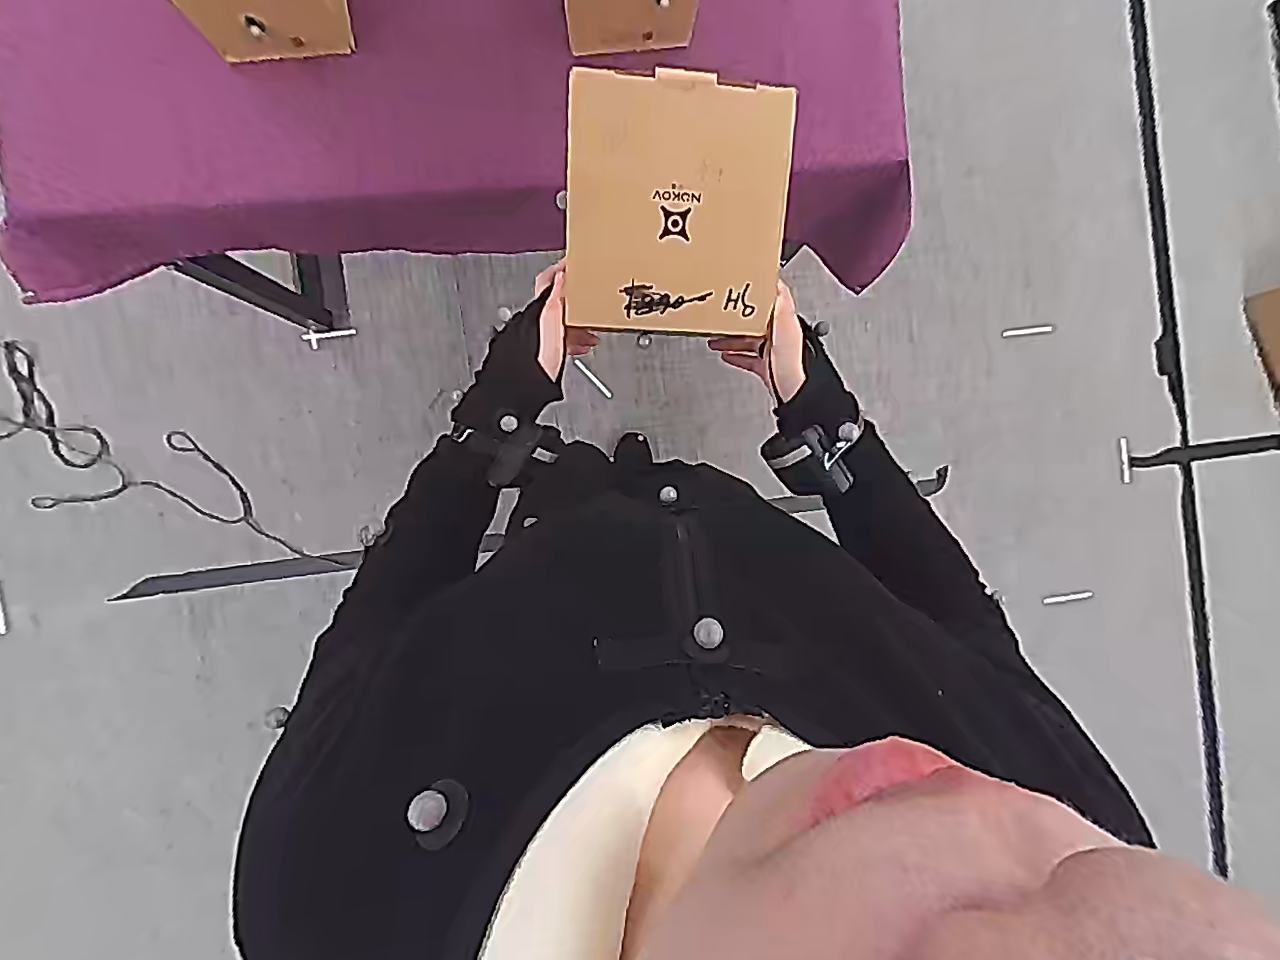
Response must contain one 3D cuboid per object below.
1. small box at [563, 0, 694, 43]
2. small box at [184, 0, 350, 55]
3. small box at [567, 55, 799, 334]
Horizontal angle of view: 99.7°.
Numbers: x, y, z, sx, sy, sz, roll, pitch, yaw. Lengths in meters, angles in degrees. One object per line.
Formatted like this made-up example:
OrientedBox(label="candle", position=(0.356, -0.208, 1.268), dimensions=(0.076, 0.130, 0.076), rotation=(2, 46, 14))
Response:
OrientedBox(label="small box", position=(-0.017, -0.675, 0.658), dimensions=(0.168, 0.176, 0.179), rotation=(-7, 93, -5))
OrientedBox(label="small box", position=(-0.464, -0.644, 0.624), dimensions=(0.168, 0.176, 0.179), rotation=(-8, 94, -5))
OrientedBox(label="small box", position=(0.024, -0.226, 0.478), dimensions=(0.168, 0.176, 0.179), rotation=(2, 104, -5))
